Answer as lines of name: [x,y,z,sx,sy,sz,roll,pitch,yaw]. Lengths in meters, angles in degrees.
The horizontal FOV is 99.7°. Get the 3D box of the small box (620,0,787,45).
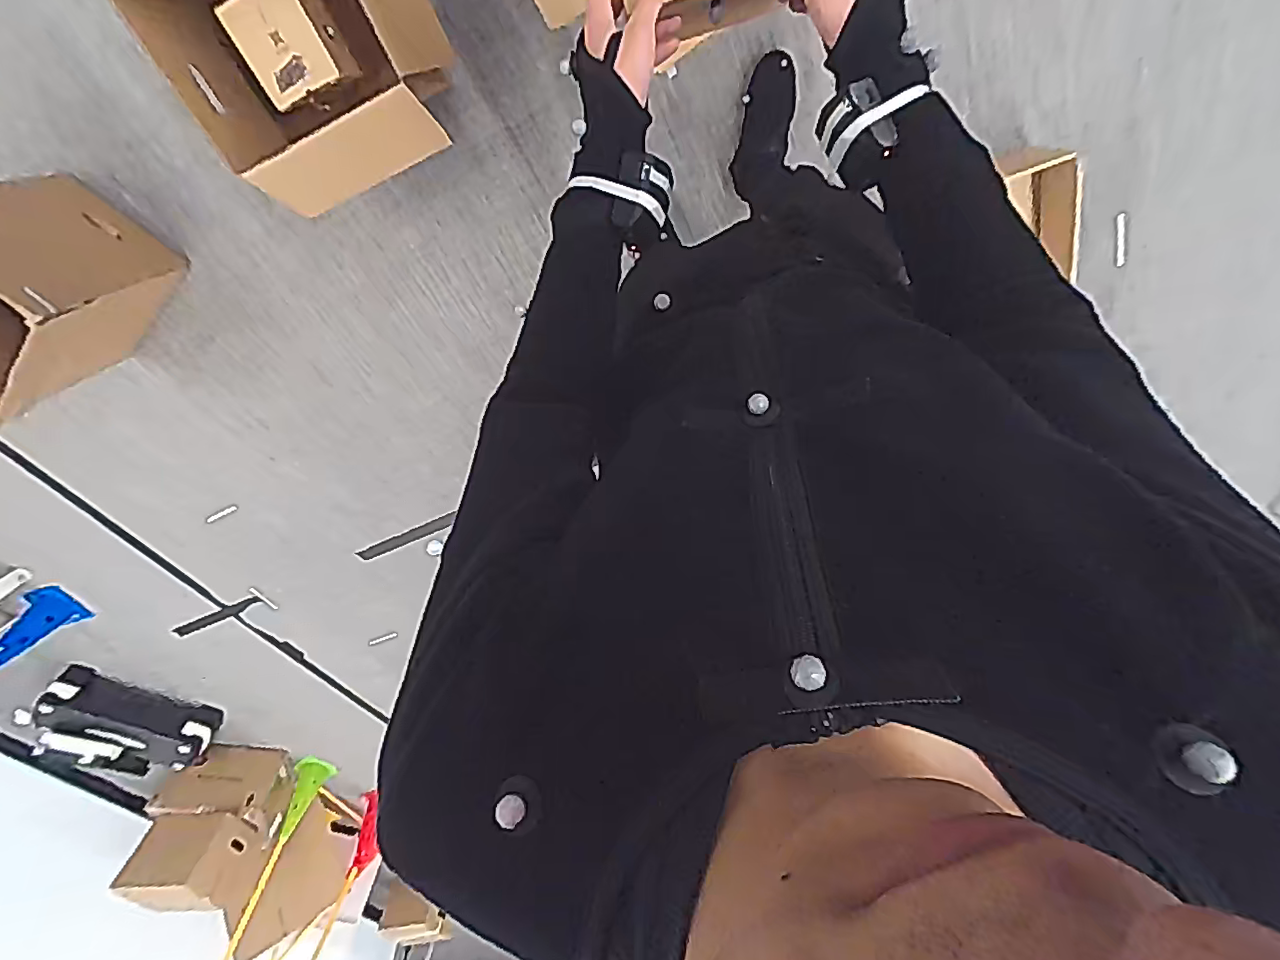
small box: [0.058,-0.508,0.462,0.179,0.176,0.168,-10,119,10]
